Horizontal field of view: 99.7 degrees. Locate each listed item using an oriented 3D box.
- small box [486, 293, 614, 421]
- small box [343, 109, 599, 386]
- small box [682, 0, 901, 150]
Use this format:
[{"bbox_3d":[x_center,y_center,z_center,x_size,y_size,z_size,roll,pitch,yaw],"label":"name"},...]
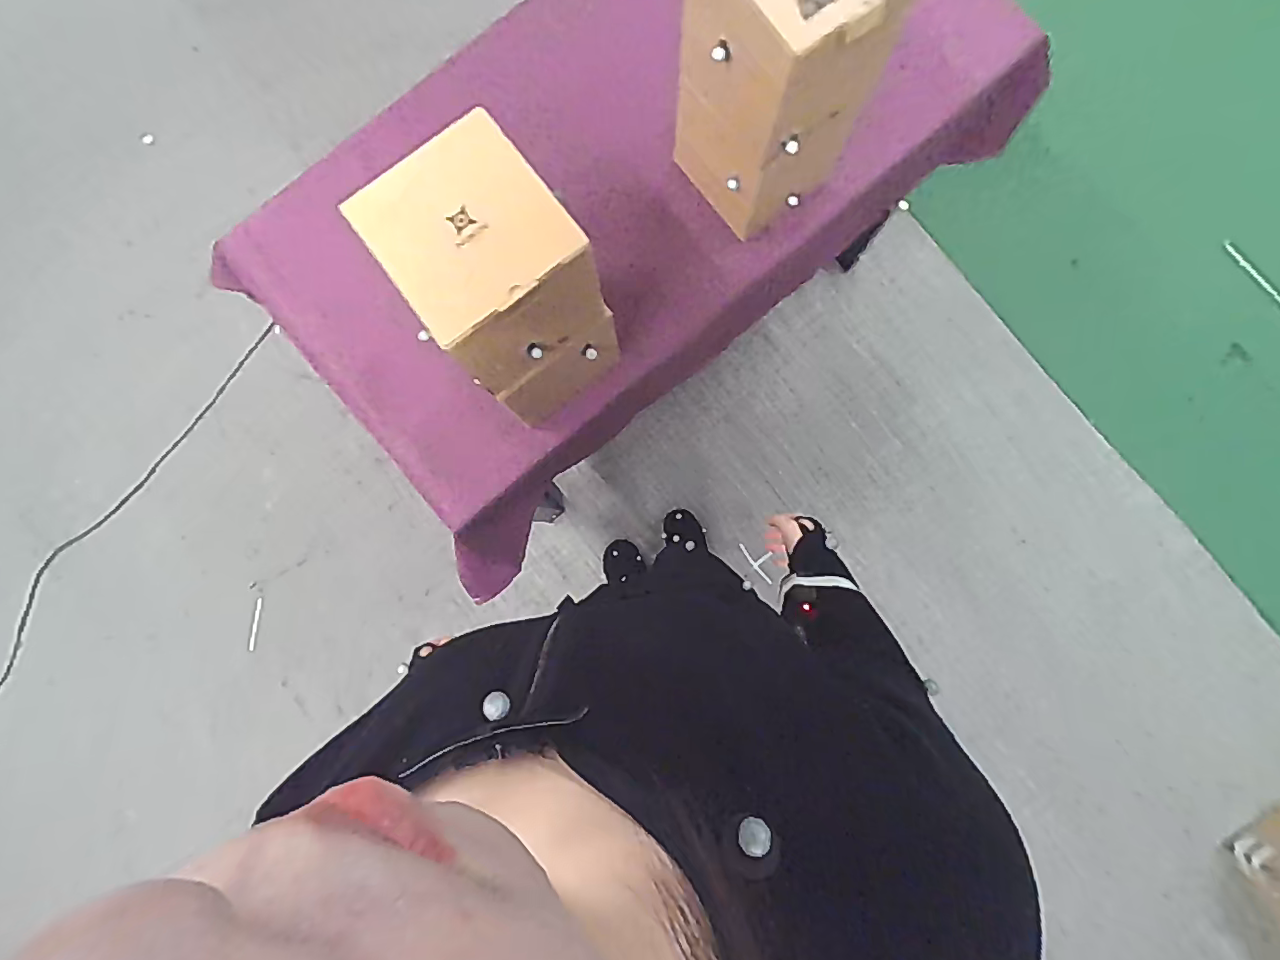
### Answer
[{"bbox_3d":[-0.148,-0.206,0.739,0.179,0.176,0.168,-38,84,-2],"label":"small box"},{"bbox_3d":[-0.162,-0.228,0.578,0.168,0.176,0.179,-37,85,-2],"label":"small box"},{"bbox_3d":[0.161,-0.505,0.592,0.168,0.176,0.179,-35,84,-1],"label":"small box"}]
